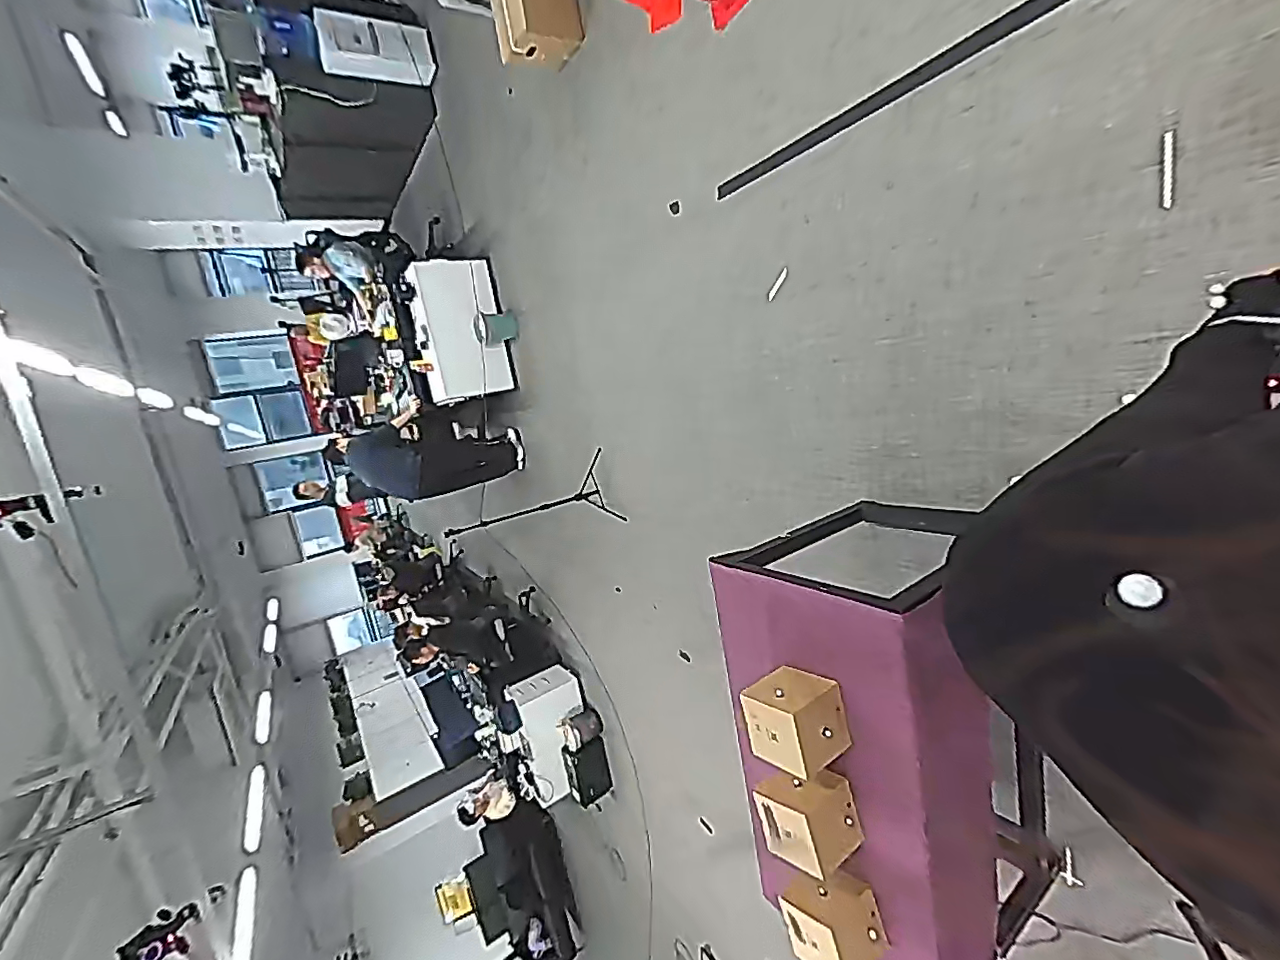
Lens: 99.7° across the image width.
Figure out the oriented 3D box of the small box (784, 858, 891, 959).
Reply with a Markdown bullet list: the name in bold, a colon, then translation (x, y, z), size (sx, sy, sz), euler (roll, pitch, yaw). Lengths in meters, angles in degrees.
- **small box**: translation (0.512, 1.132, 1.405), size (0.179, 0.176, 0.168), euler (-19, 89, 58)

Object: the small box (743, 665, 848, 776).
- **small box**: translation (0.388, 0.577, 1.329), size (0.179, 0.176, 0.168), euler (-5, 100, 59)
